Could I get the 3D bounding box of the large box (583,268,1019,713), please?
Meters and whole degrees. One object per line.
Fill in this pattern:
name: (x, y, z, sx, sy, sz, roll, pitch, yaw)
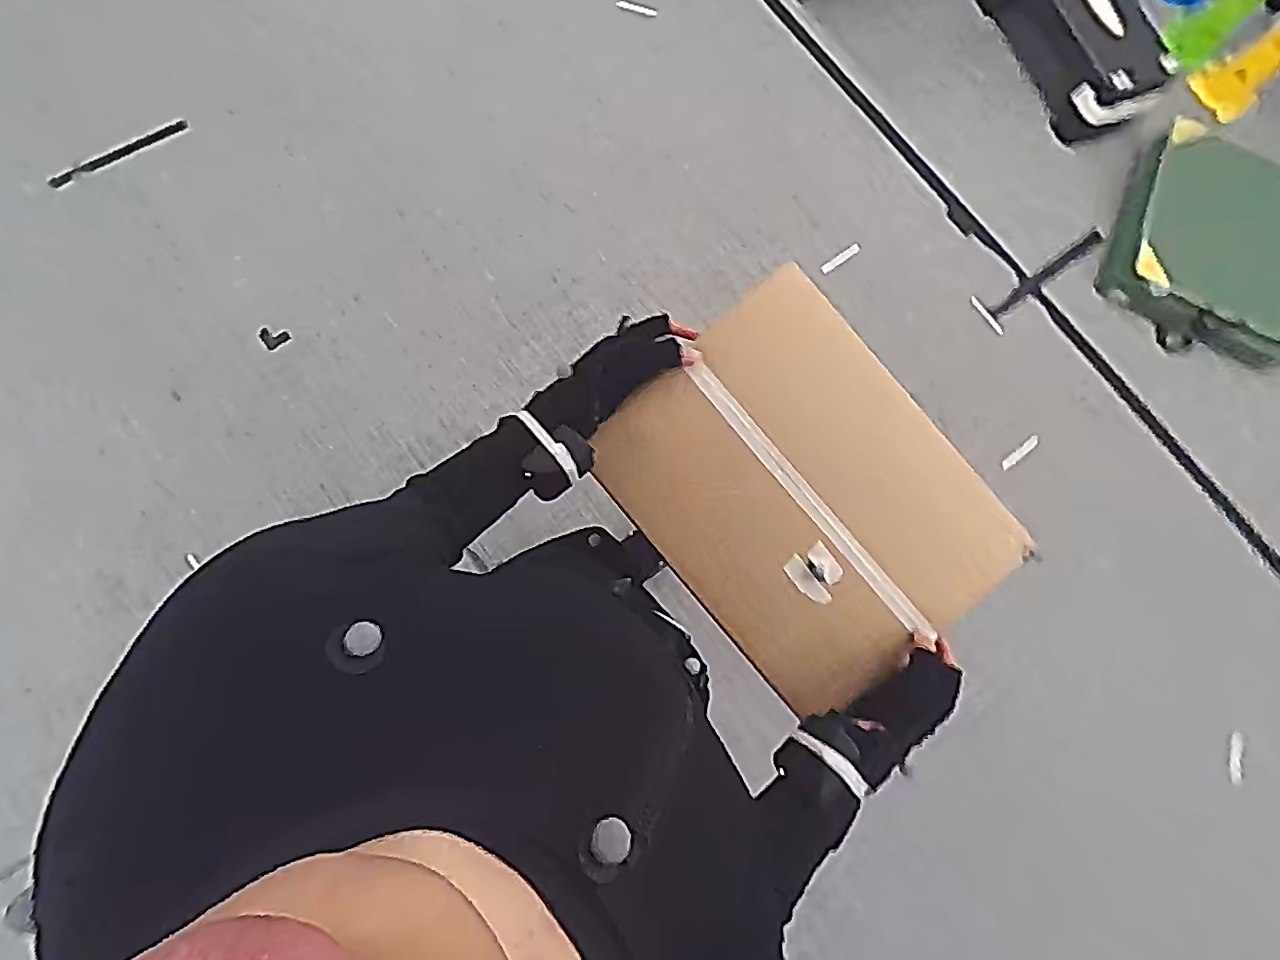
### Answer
large box: (0.172, 0.011, 0.738, 0.320, 0.320, 0.408, -39, 90, -1)
